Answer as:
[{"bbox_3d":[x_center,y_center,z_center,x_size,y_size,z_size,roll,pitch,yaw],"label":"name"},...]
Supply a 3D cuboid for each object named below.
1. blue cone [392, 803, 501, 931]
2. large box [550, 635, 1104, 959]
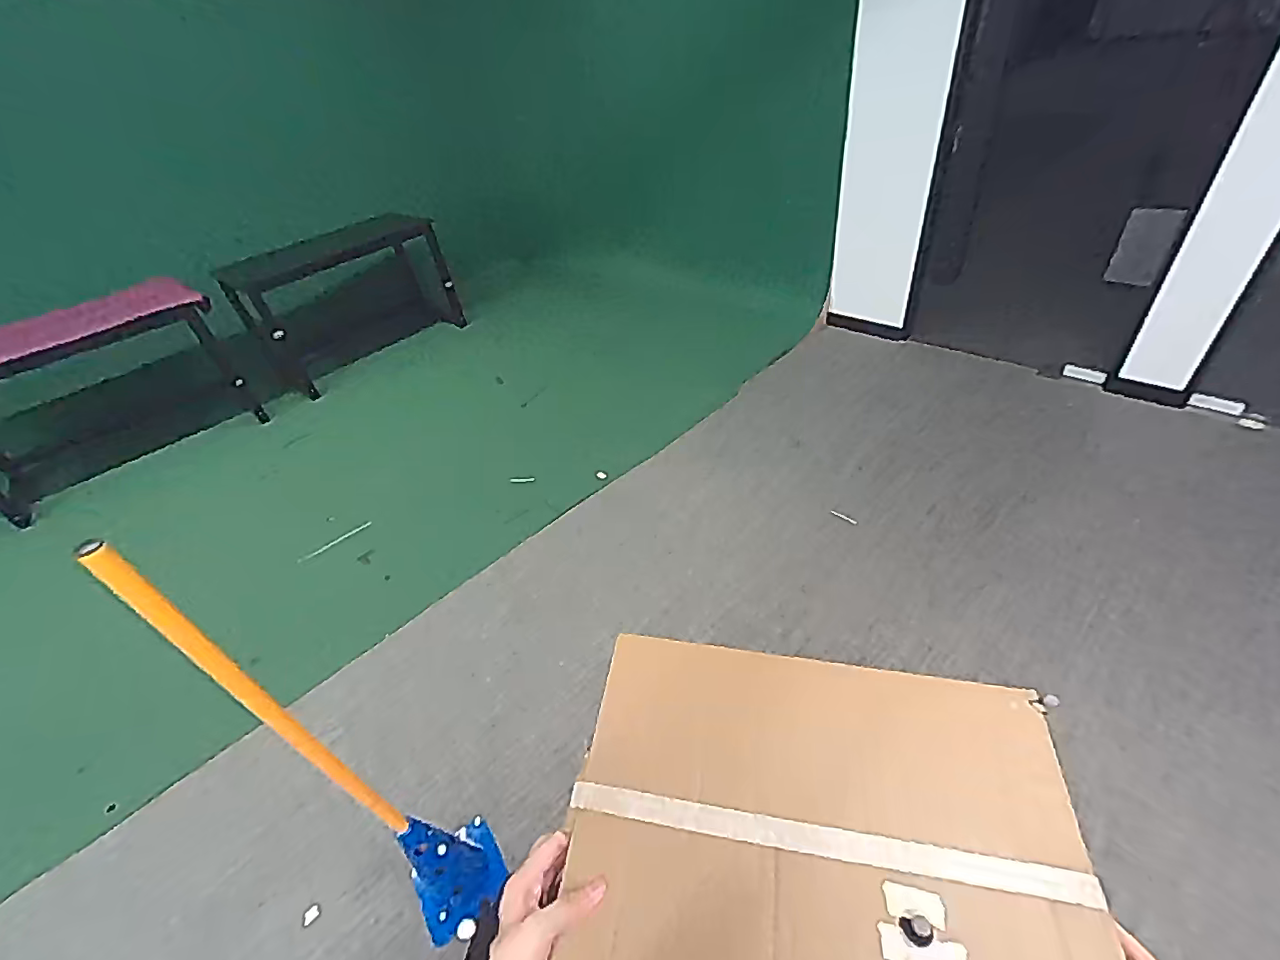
[{"bbox_3d":[-0.468,0.834,1.223,0.193,0.380,0.192,-28,42,-22],"label":"blue cone"},{"bbox_3d":[0.152,0.396,0.557,0.408,0.320,0.320,6,47,9],"label":"large box"}]
